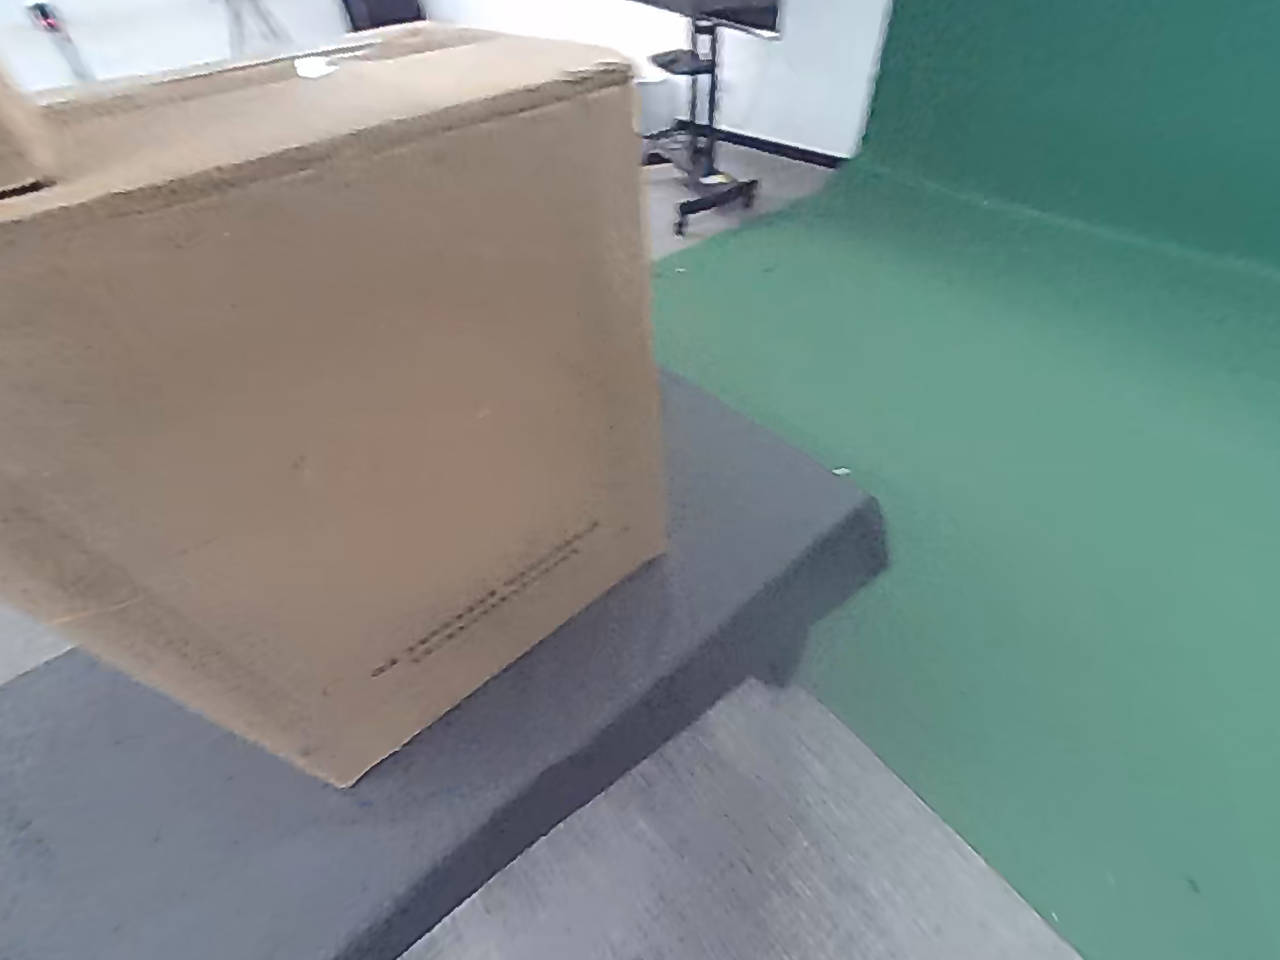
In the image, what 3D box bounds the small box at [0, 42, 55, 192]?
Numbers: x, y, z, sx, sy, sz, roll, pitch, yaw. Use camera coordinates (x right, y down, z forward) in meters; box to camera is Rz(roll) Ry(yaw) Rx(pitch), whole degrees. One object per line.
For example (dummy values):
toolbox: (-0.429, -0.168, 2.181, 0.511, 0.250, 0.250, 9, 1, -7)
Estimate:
small box: (-0.407, -0.212, 0.223, 0.168, 0.176, 0.179, -33, 55, -23)
